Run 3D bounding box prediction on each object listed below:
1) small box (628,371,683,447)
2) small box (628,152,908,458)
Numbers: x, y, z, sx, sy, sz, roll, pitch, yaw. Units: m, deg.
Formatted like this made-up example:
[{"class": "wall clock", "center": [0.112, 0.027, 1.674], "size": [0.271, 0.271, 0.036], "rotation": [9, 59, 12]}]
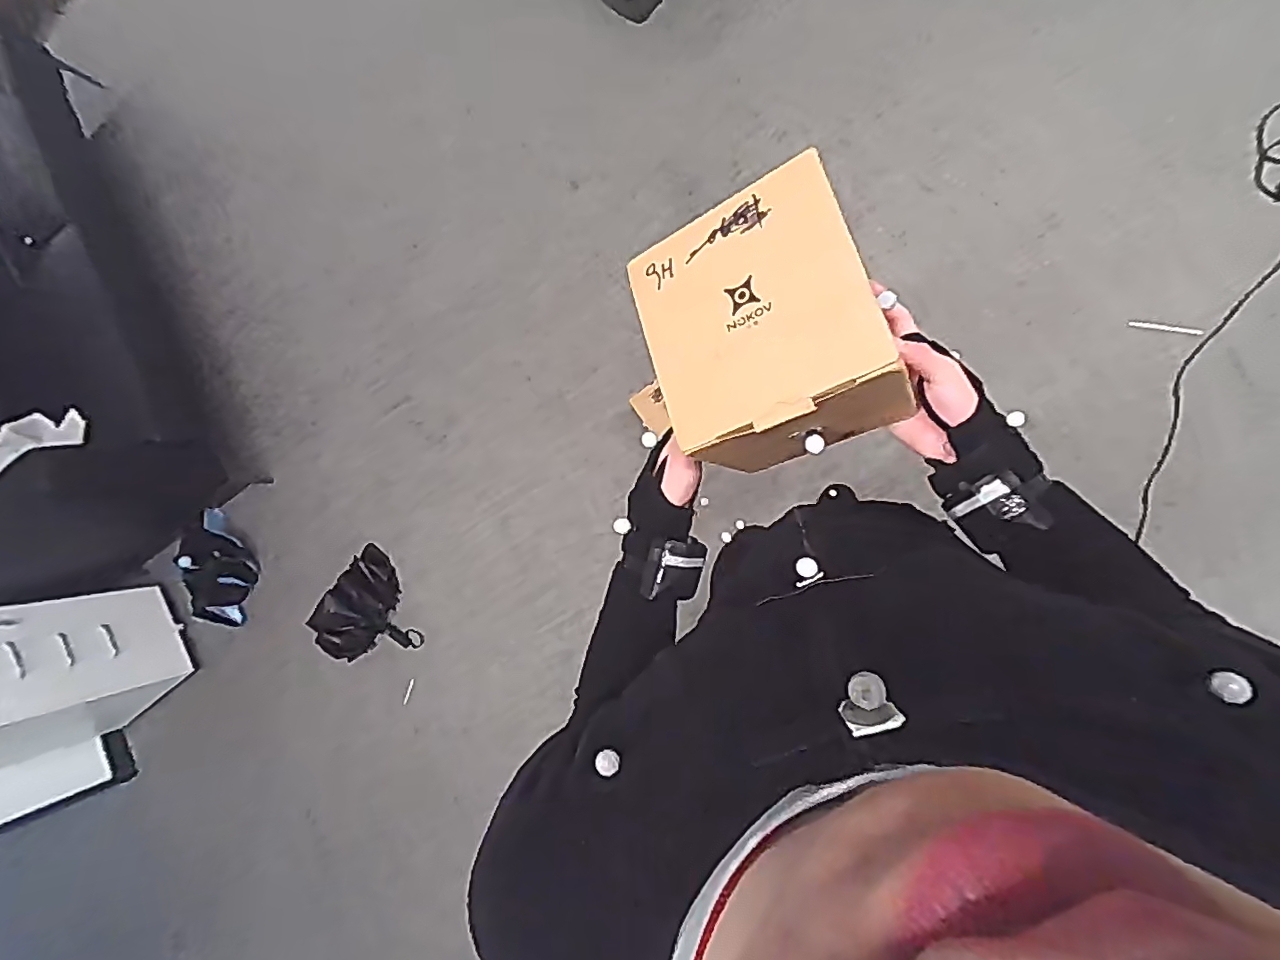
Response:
[{"class": "small box", "center": [0.096, -0.209, 1.553], "size": [0.168, 0.176, 0.179], "rotation": [-37, 80, 14]}, {"class": "small box", "center": [0.118, -0.125, 0.473], "size": [0.168, 0.176, 0.179], "rotation": [-22, 76, 26]}]
